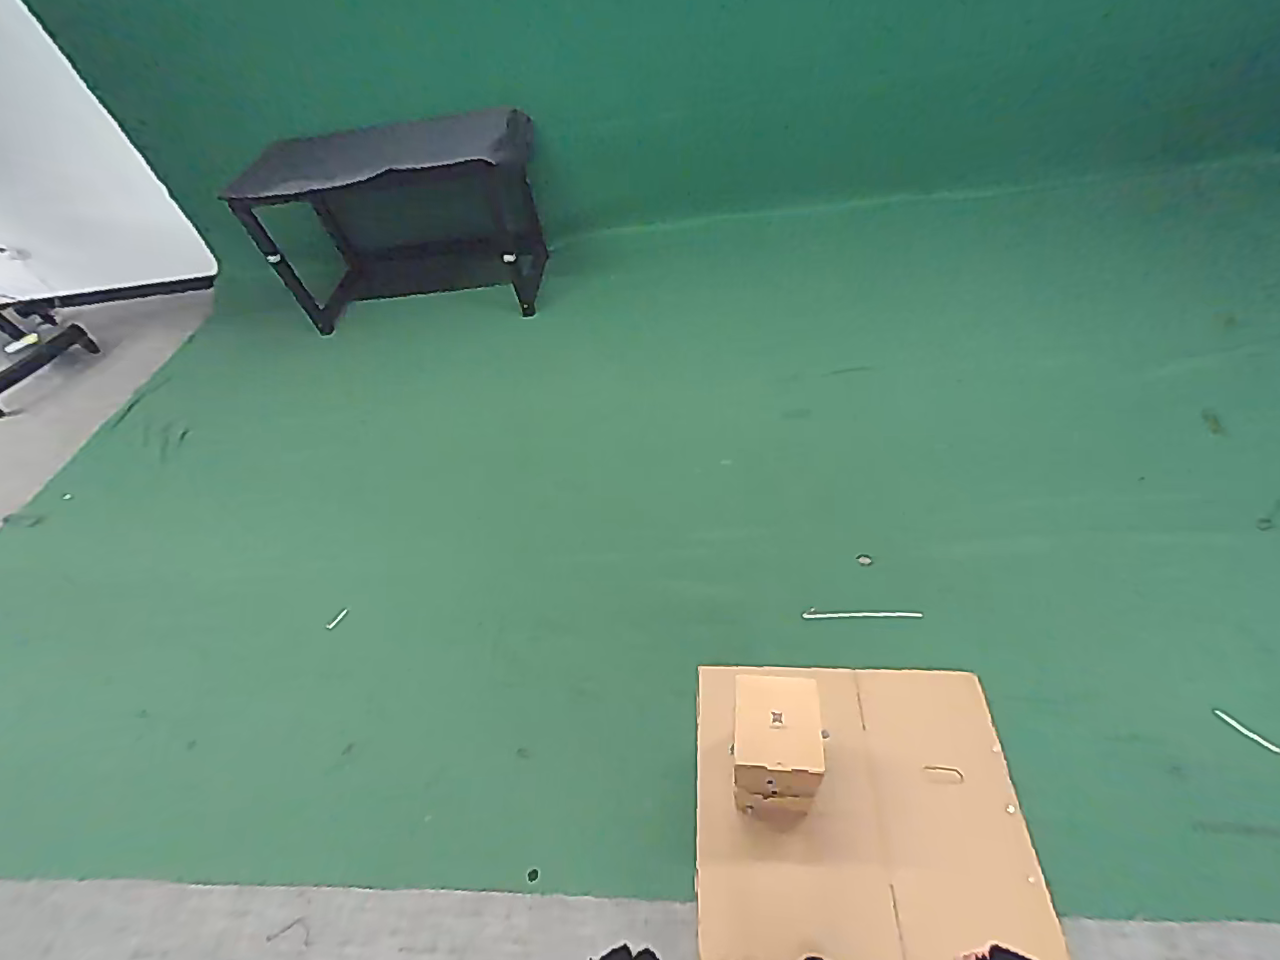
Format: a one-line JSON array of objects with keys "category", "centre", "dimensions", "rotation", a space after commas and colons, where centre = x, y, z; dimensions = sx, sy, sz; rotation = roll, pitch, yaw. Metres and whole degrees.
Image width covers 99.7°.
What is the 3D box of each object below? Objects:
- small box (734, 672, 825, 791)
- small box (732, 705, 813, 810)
[{"category": "small box", "centre": [0.278, 0.516, 1.109], "dimensions": [0.168, 0.176, 0.179], "rotation": [0, 50, 11]}, {"category": "small box", "centre": [0.295, 0.630, 1.224], "dimensions": [0.168, 0.176, 0.179], "rotation": [-1, 49, 10]}]
